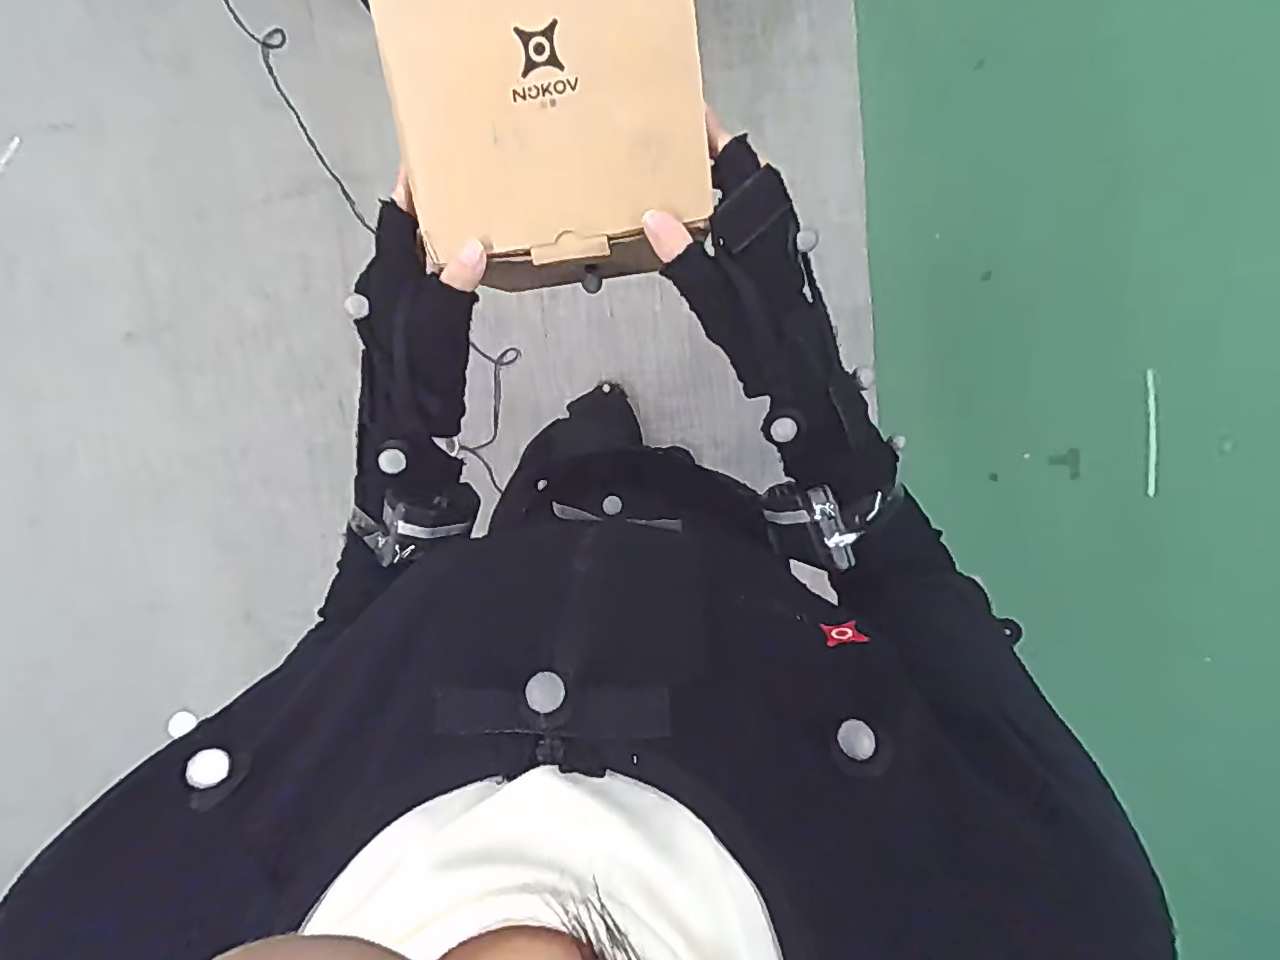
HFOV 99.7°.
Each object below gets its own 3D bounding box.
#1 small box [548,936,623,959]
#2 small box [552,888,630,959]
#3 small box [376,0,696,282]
[{"bbox_3d":[-0.133,1.221,1.271,0.179,0.176,0.168,-8,95,4],"label":"small box"},{"bbox_3d":[-0.123,1.212,1.419,0.168,0.176,0.179,-9,96,5],"label":"small box"},{"bbox_3d":[-0.052,-0.247,0.386,0.168,0.176,0.179,-9,104,6],"label":"small box"}]
